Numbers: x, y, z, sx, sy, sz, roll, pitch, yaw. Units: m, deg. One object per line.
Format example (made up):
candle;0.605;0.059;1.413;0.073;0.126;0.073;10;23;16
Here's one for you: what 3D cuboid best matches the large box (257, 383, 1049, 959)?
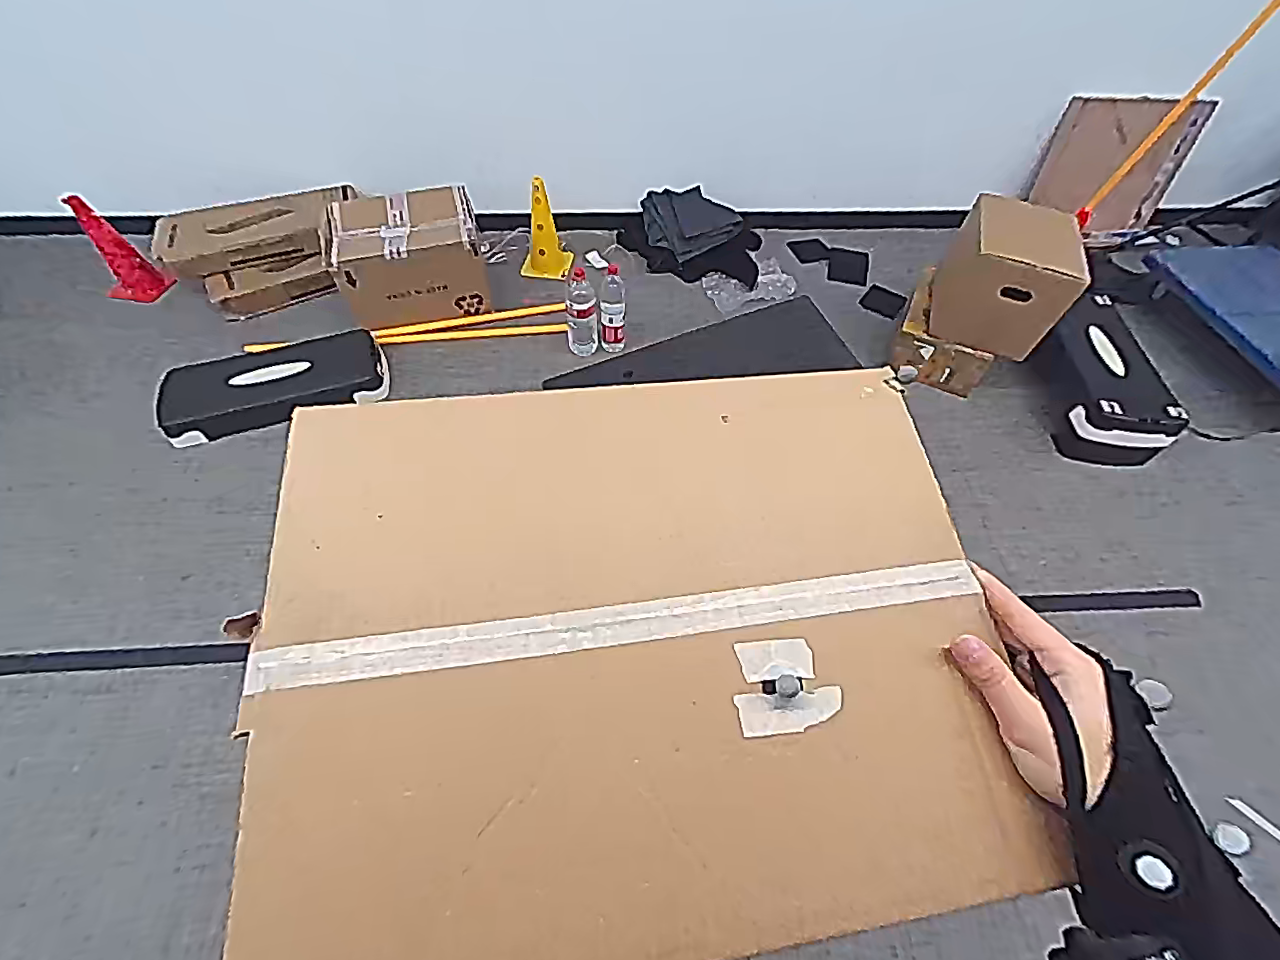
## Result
large box;-0.011;0.145;0.452;0.408;0.320;0.320;-5;67;-9
